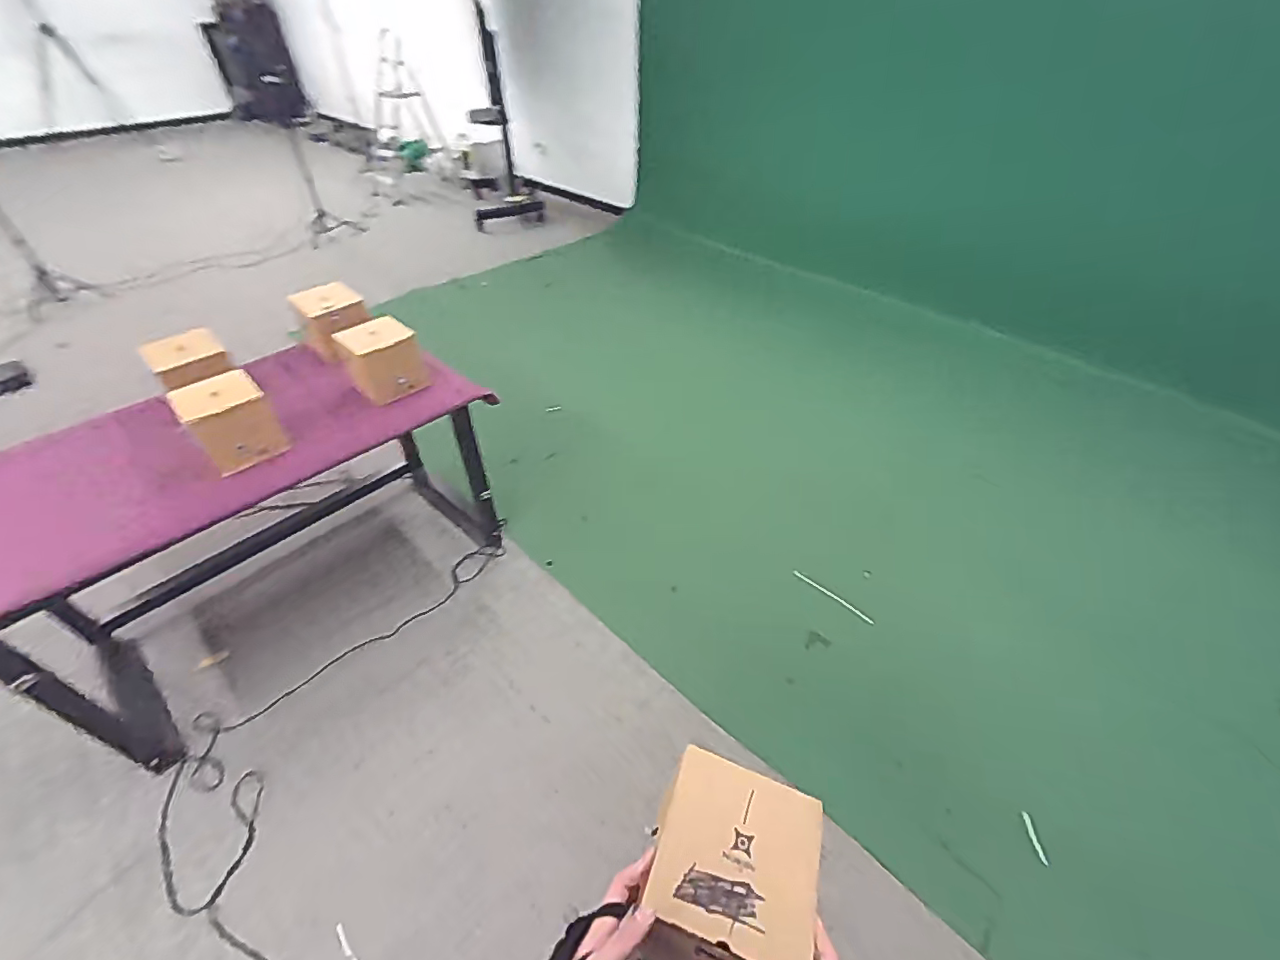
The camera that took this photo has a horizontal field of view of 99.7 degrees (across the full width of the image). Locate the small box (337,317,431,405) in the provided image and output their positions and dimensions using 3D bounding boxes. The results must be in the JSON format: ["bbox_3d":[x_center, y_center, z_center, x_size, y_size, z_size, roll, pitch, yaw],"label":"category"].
[{"bbox_3d":[-0.738,-0.345,1.569,0.168,0.176,0.179,-35,52,-30],"label":"small box"}]

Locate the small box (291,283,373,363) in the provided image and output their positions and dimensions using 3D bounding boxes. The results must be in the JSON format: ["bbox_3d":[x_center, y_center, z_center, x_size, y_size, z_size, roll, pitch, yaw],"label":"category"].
[{"bbox_3d":[-0.970,-0.500,1.730,0.179,0.176,0.168,35,55,29],"label":"small box"}]

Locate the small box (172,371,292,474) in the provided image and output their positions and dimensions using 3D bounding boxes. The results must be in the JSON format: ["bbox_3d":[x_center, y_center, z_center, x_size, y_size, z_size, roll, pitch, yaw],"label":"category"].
[{"bbox_3d":[-1.016,-0.143,1.355,0.179,0.176,0.168,34,52,31],"label":"small box"}]

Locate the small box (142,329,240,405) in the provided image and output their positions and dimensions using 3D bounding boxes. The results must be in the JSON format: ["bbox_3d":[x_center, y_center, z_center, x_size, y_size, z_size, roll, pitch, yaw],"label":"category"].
[{"bbox_3d":[-1.228,-0.291,1.510,0.179,0.176,0.168,36,53,29],"label":"small box"}]

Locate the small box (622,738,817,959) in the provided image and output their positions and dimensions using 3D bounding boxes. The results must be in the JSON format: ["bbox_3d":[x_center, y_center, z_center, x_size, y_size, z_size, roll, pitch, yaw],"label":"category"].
[{"bbox_3d":[0.086,0.440,0.610,0.168,0.176,0.179,19,38,9],"label":"small box"}]
